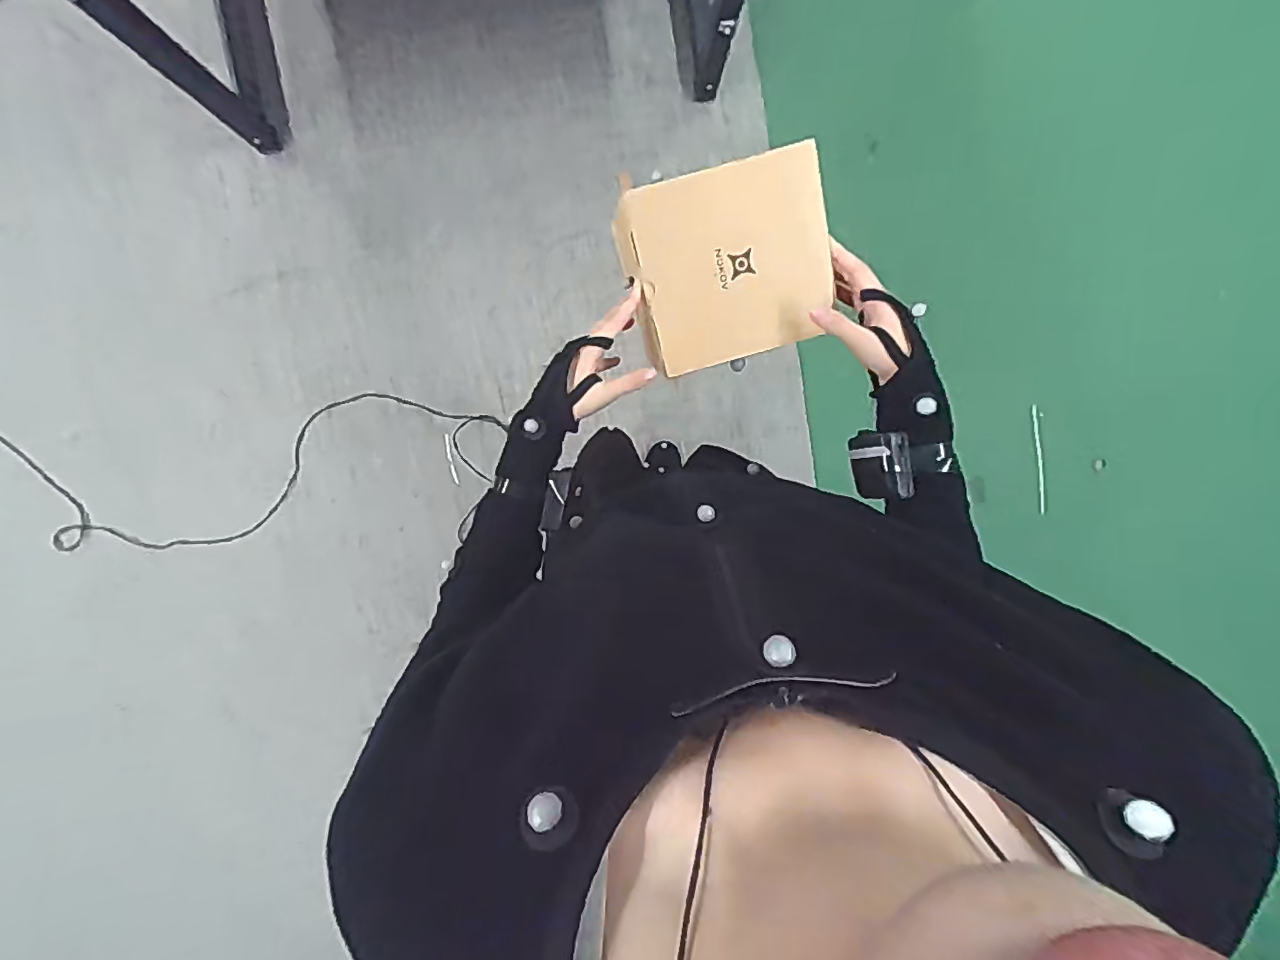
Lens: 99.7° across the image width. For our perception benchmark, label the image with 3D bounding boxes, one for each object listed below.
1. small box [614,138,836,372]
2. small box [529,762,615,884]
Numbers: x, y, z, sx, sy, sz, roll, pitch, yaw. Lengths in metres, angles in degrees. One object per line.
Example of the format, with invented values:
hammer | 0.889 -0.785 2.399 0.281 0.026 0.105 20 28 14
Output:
small box | 0.077 -0.225 0.566 0.179 0.176 0.168 -16 108 1
small box | -0.154 0.795 1.276 0.168 0.176 0.179 -11 94 0
